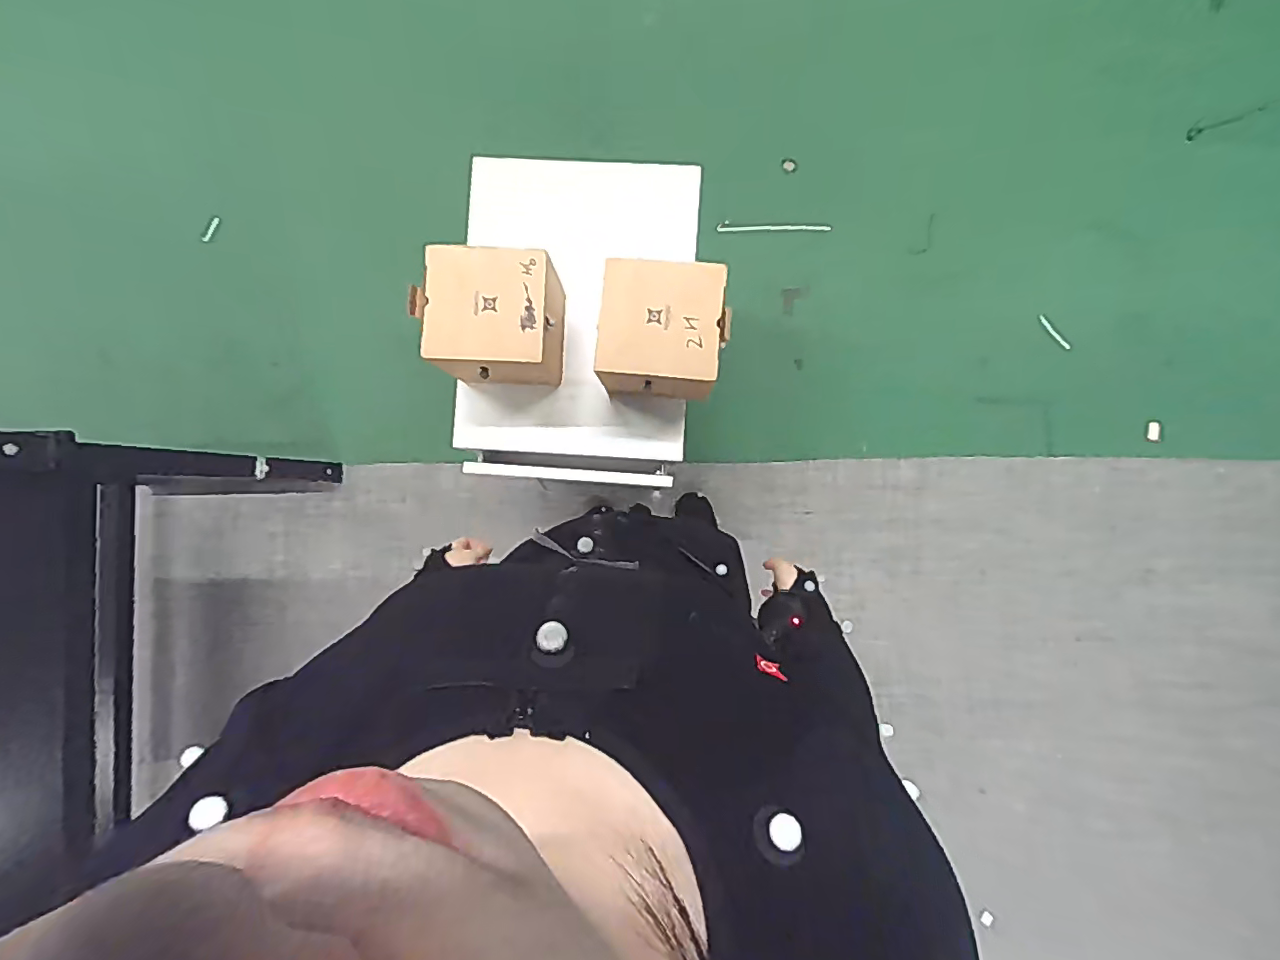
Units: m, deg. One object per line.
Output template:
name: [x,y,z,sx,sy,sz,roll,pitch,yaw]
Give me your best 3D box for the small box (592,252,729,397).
small box: [0.031,-0.225,0.819,0.179,0.176,0.168,5,90,2]
